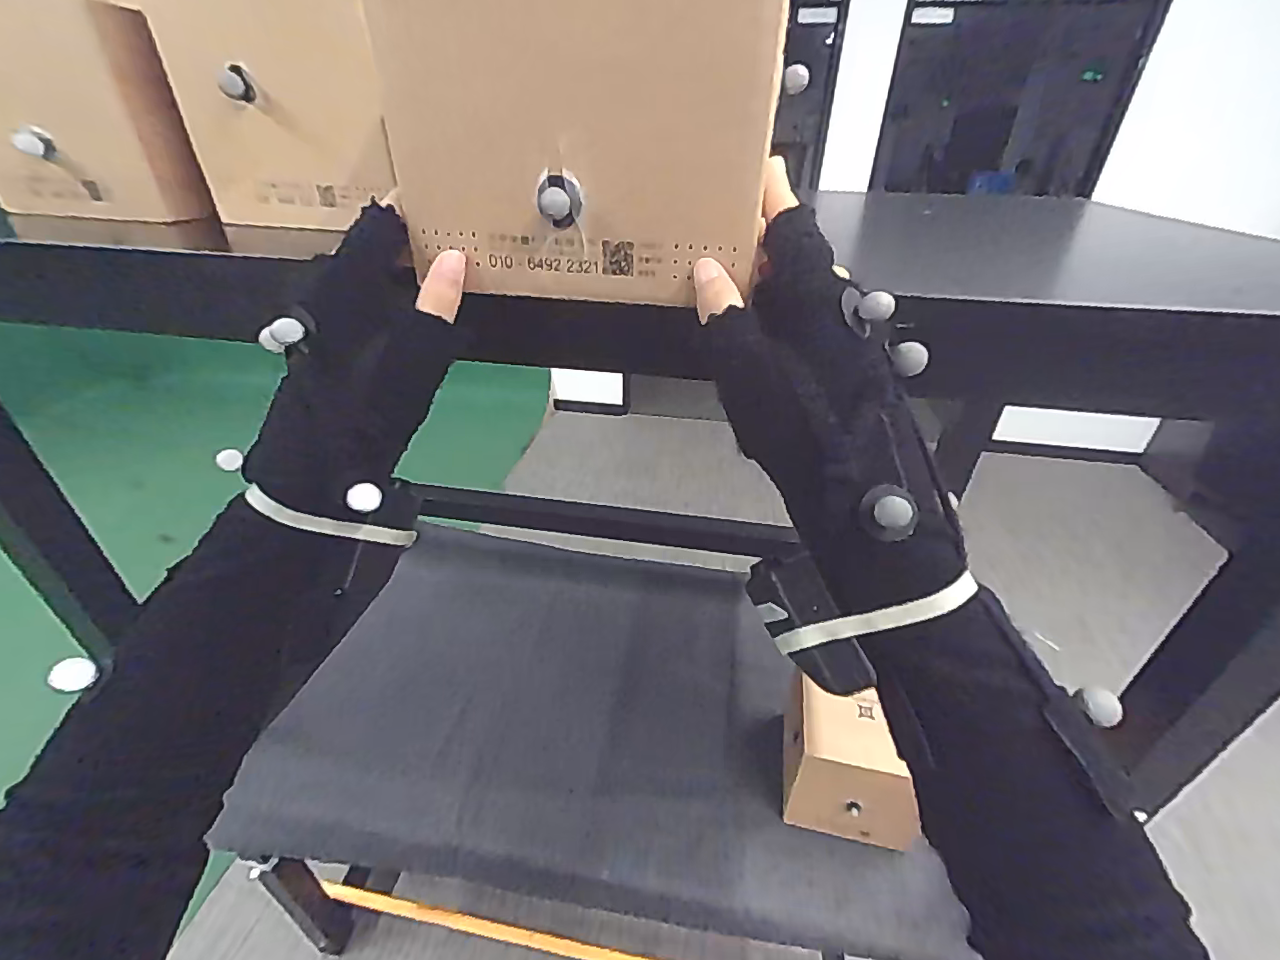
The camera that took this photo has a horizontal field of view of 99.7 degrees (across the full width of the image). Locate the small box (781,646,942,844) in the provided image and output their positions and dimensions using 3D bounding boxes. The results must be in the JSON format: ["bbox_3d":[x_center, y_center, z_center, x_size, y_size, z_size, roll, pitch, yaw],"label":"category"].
[{"bbox_3d":[0.298,0.370,0.763,0.168,0.176,0.179,8,33,10],"label":"small box"}]

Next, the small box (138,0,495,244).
[{"bbox_3d":[-0.234,-0.298,0.446,0.168,0.176,0.179,7,33,10],"label":"small box"}]

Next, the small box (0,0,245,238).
[{"bbox_3d":[-0.428,-0.319,0.468,0.168,0.176,0.179,7,34,9],"label":"small box"}]
